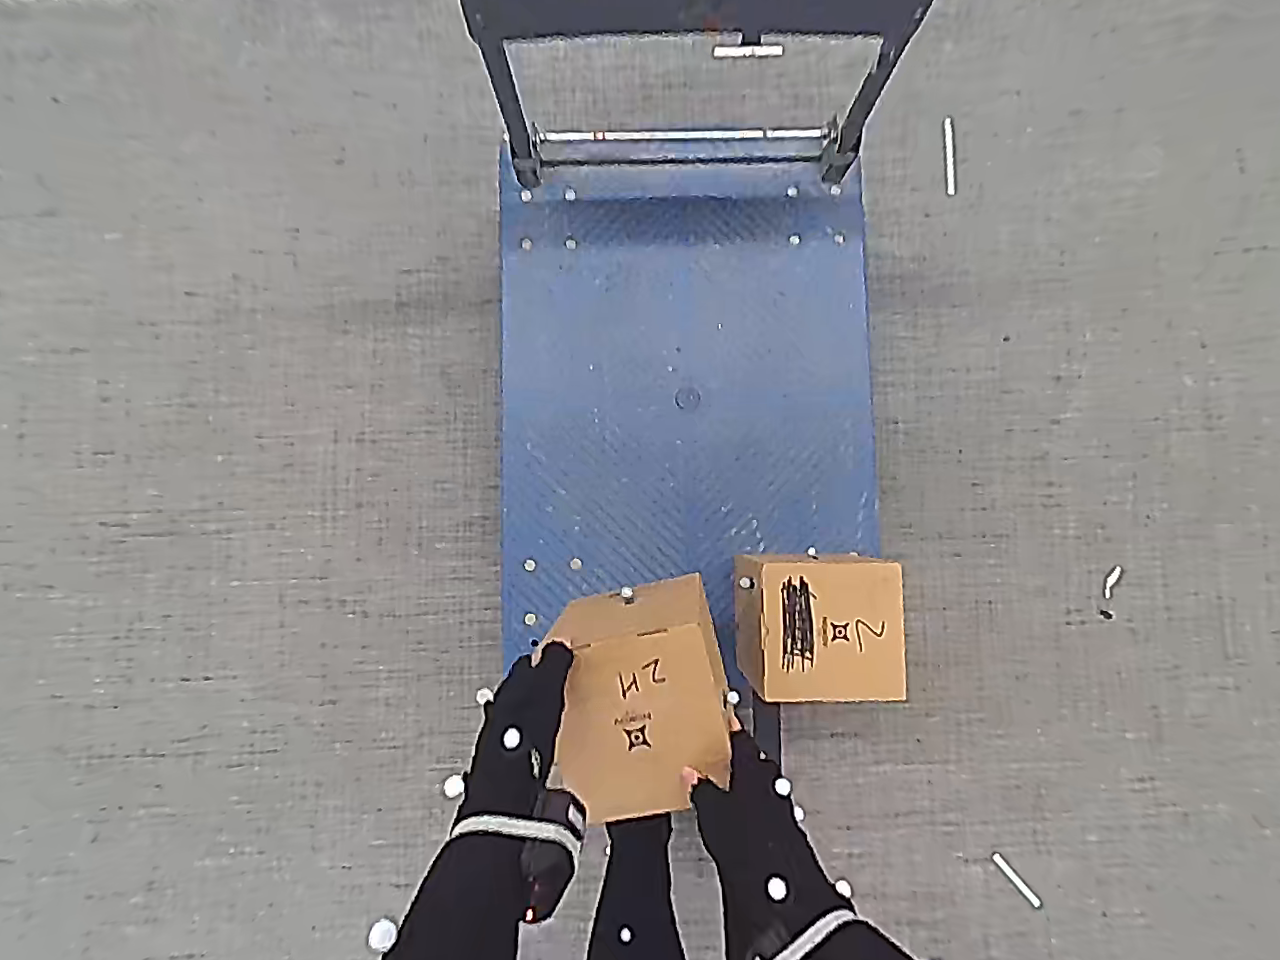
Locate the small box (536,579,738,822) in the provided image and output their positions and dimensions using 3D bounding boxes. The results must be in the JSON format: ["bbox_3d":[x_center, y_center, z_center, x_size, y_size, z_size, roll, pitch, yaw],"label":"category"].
[{"bbox_3d":[0.006,0.226,0.590,0.168,0.176,0.179,-13,93,7],"label":"small box"}]
